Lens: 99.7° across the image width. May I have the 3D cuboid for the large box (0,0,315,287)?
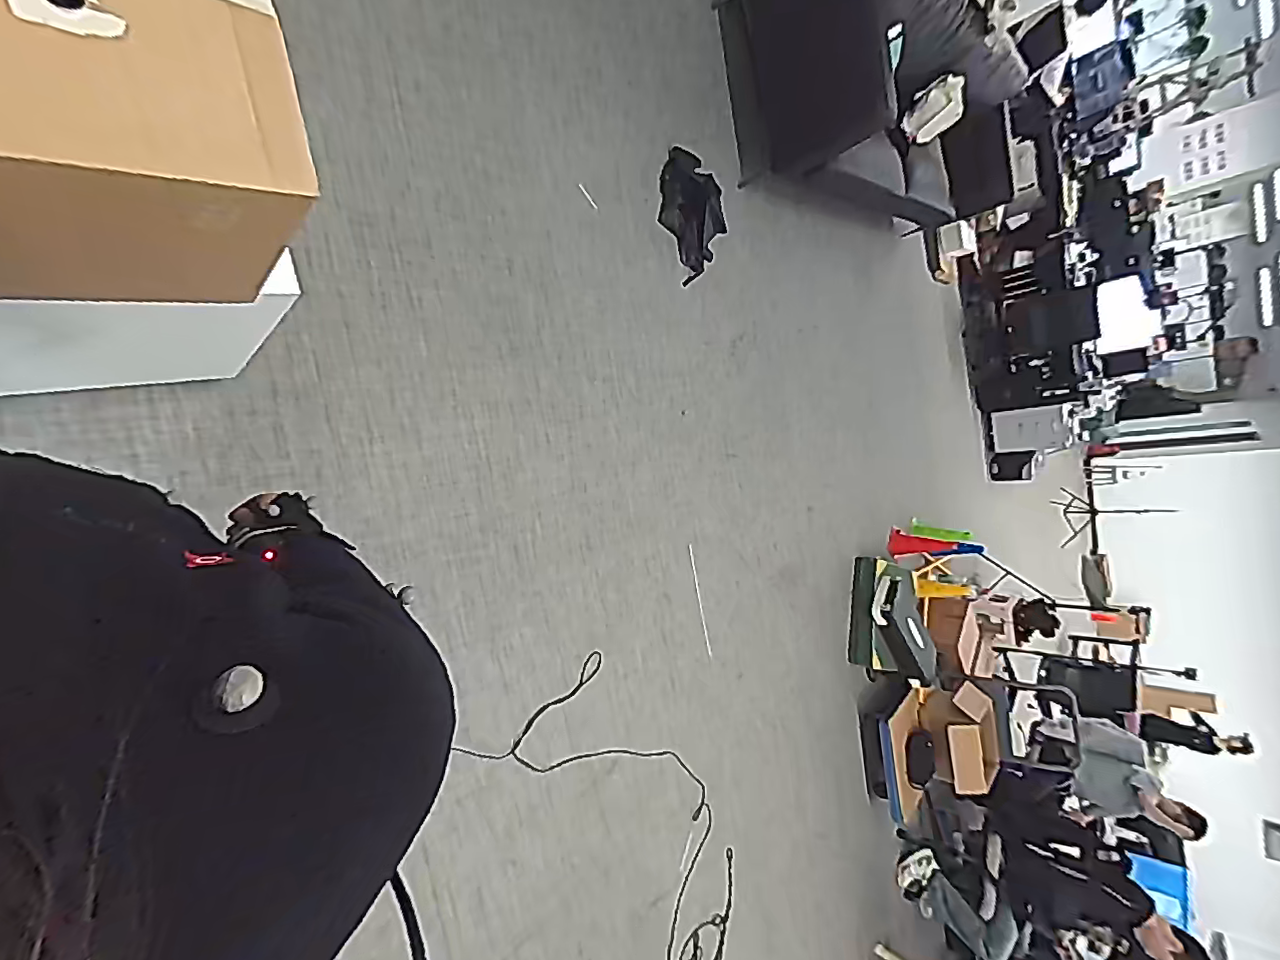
[{"bbox_3d":[-0.559,-0.356,0.430,0.408,0.320,0.320,-18,100,-45],"label":"large box"}]
